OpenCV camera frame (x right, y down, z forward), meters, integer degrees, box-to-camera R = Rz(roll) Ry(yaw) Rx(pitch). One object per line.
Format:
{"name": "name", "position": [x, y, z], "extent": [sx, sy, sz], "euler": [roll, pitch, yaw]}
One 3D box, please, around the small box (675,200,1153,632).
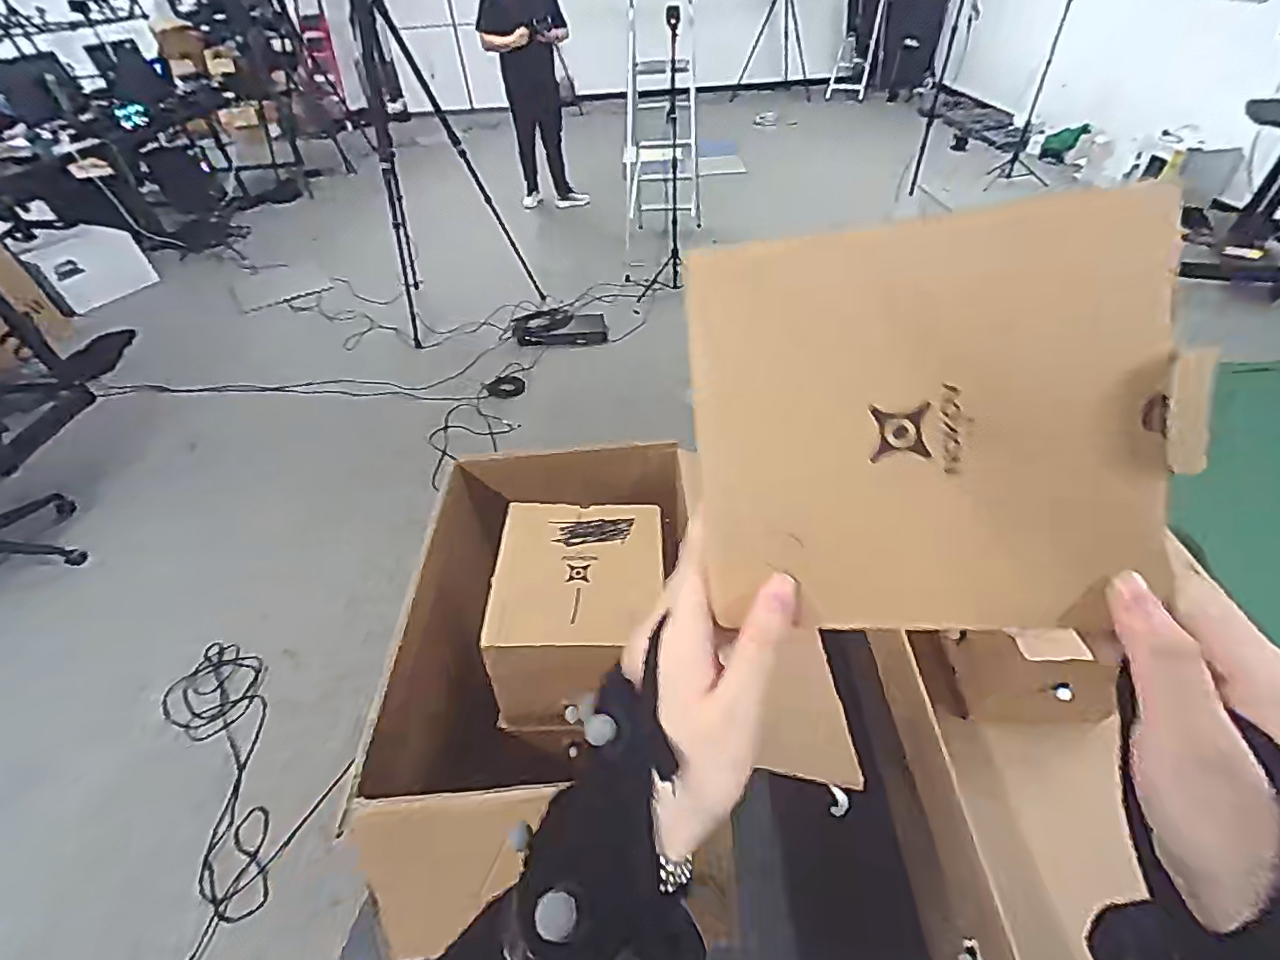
{"name": "small box", "position": [0.121, -0.029, 0.300], "extent": [0.179, 0.168, 0.176], "euler": [-3, 8, 12]}
